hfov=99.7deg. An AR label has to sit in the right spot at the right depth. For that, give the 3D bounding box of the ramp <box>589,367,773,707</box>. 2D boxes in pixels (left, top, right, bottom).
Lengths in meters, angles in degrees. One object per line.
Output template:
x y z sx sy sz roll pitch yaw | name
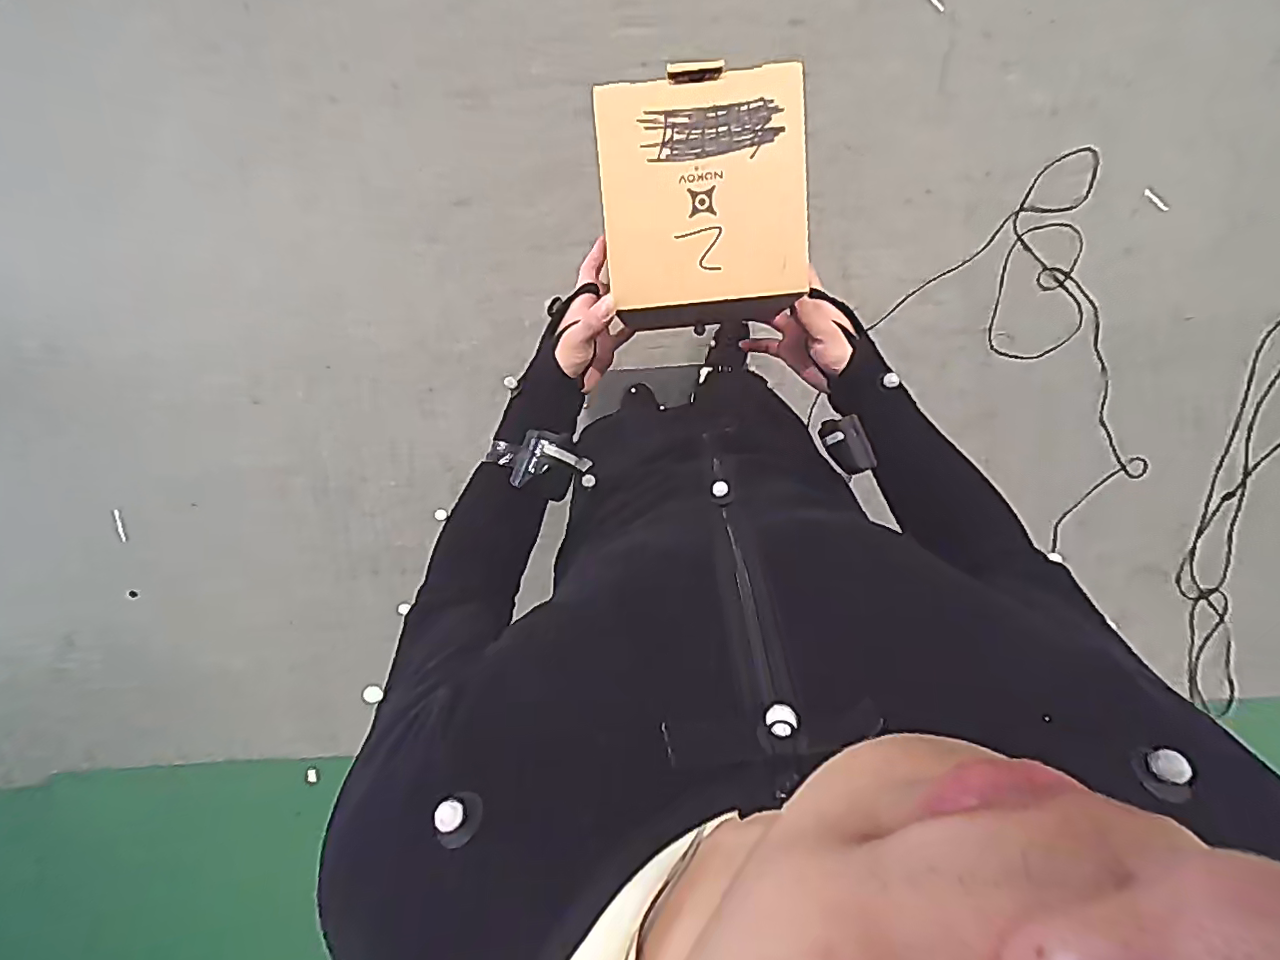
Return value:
0.124 0.177 1.625 0.509 0.206 0.991 -6 102 2 | ramp
